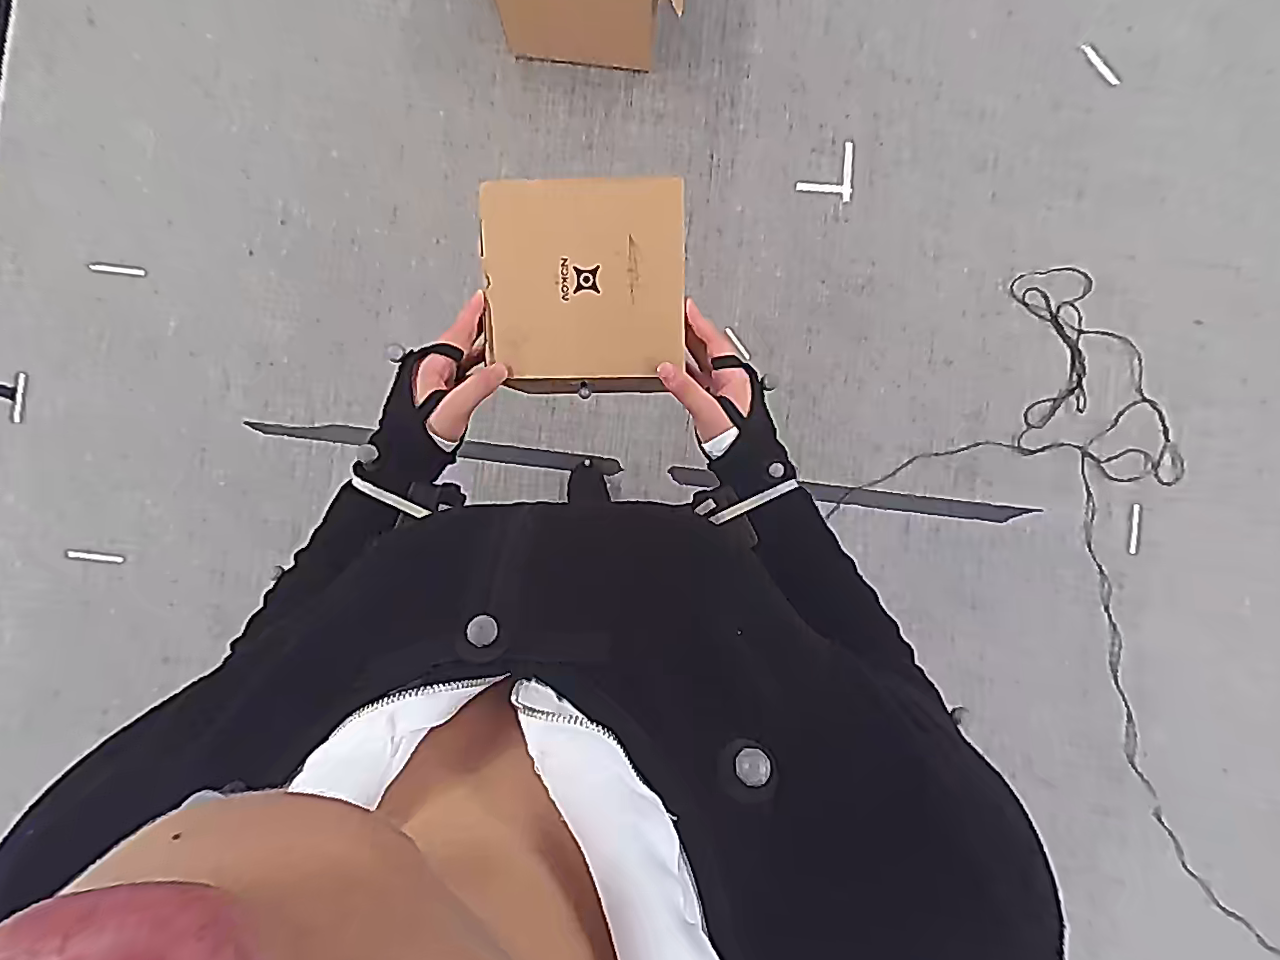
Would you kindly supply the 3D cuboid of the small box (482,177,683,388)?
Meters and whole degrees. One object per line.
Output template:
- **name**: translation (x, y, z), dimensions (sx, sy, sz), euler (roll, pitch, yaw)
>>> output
- **small box**: translation (-0.047, -0.183, 0.548), dimensions (0.179, 0.176, 0.168), euler (-1, 95, 1)
